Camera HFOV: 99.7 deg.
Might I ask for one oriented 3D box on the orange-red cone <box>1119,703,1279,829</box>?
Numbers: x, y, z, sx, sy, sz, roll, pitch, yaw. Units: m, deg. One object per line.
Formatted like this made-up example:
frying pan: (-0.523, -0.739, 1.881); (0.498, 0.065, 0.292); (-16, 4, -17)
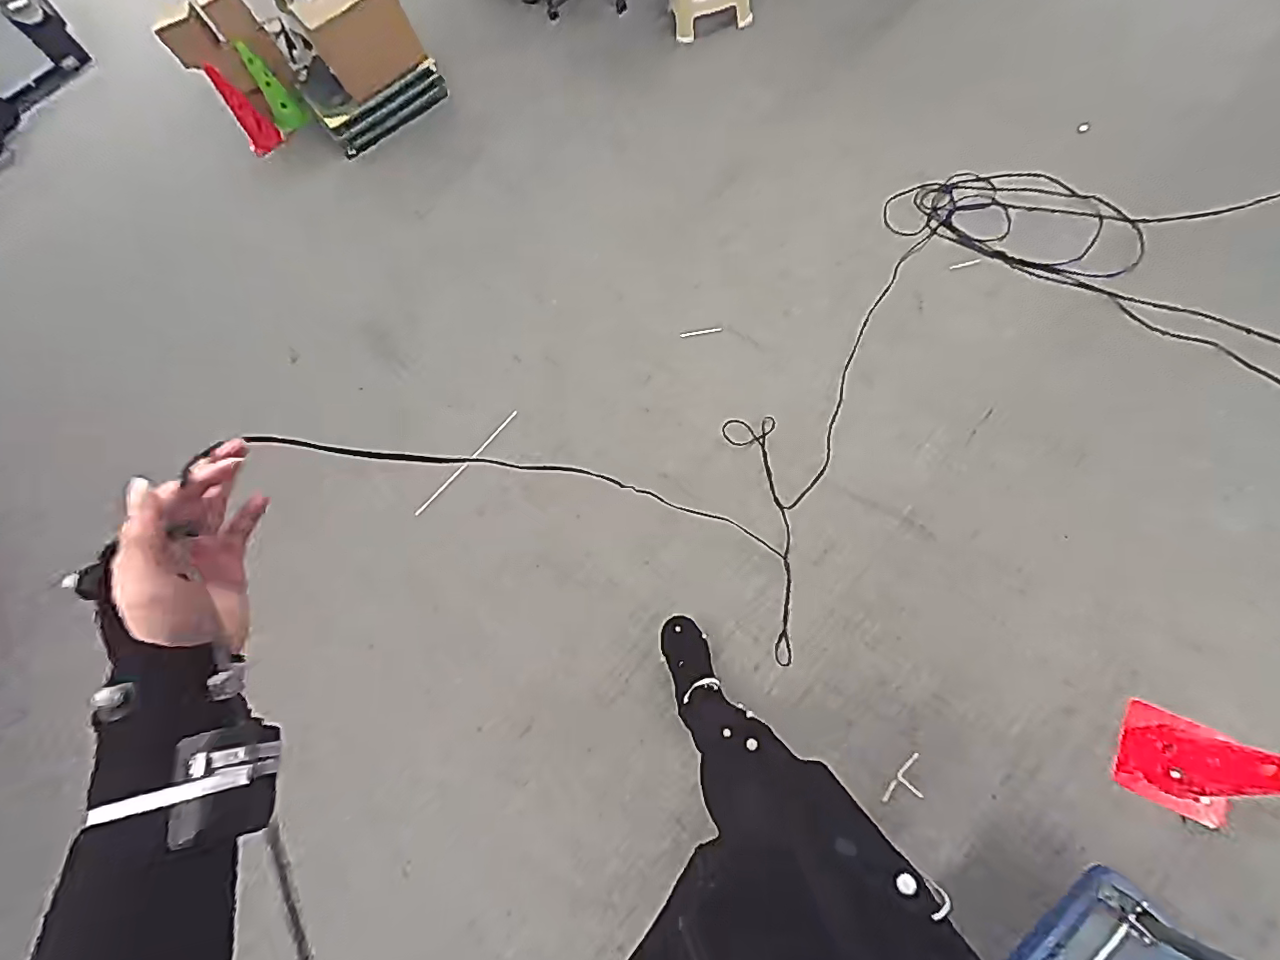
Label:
orange-red cone: (1.141, 0.549, 1.021); (0.198, 0.360, 0.199); (23, 73, 19)
